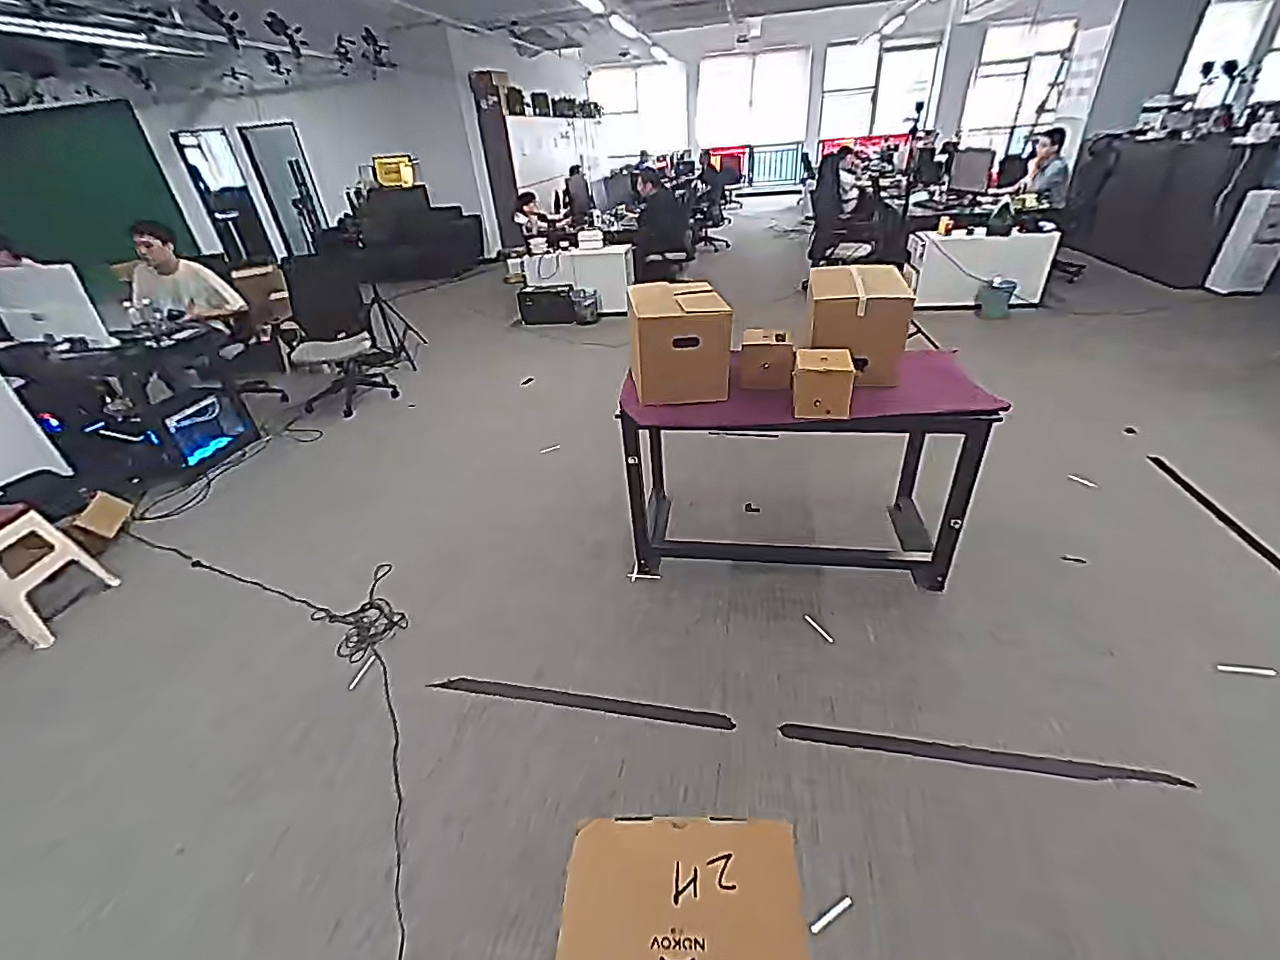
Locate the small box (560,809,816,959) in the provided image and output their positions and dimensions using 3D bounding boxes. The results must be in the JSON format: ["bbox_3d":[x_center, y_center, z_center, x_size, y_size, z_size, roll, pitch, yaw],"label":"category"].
[{"bbox_3d":[0.041,0.367,0.386,0.168,0.176,0.179,-4,33,8],"label":"small box"}]
